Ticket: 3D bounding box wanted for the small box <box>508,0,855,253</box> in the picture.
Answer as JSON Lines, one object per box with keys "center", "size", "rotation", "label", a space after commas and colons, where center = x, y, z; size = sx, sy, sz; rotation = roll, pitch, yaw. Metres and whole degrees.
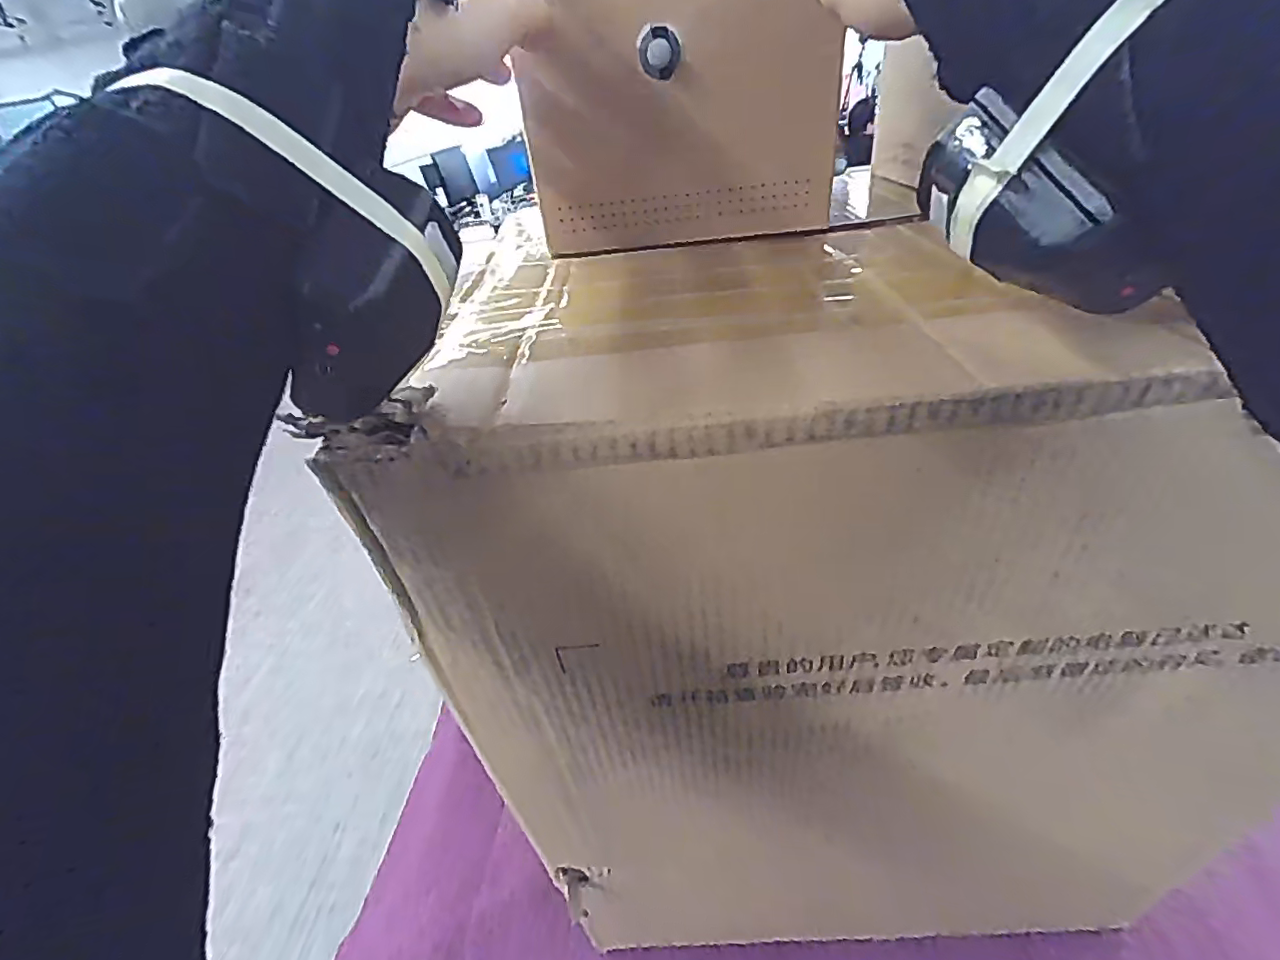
{"center": [0.029, -0.258, 0.345], "size": [0.179, 0.176, 0.168], "rotation": [-4, 36, 7], "label": "small box"}
